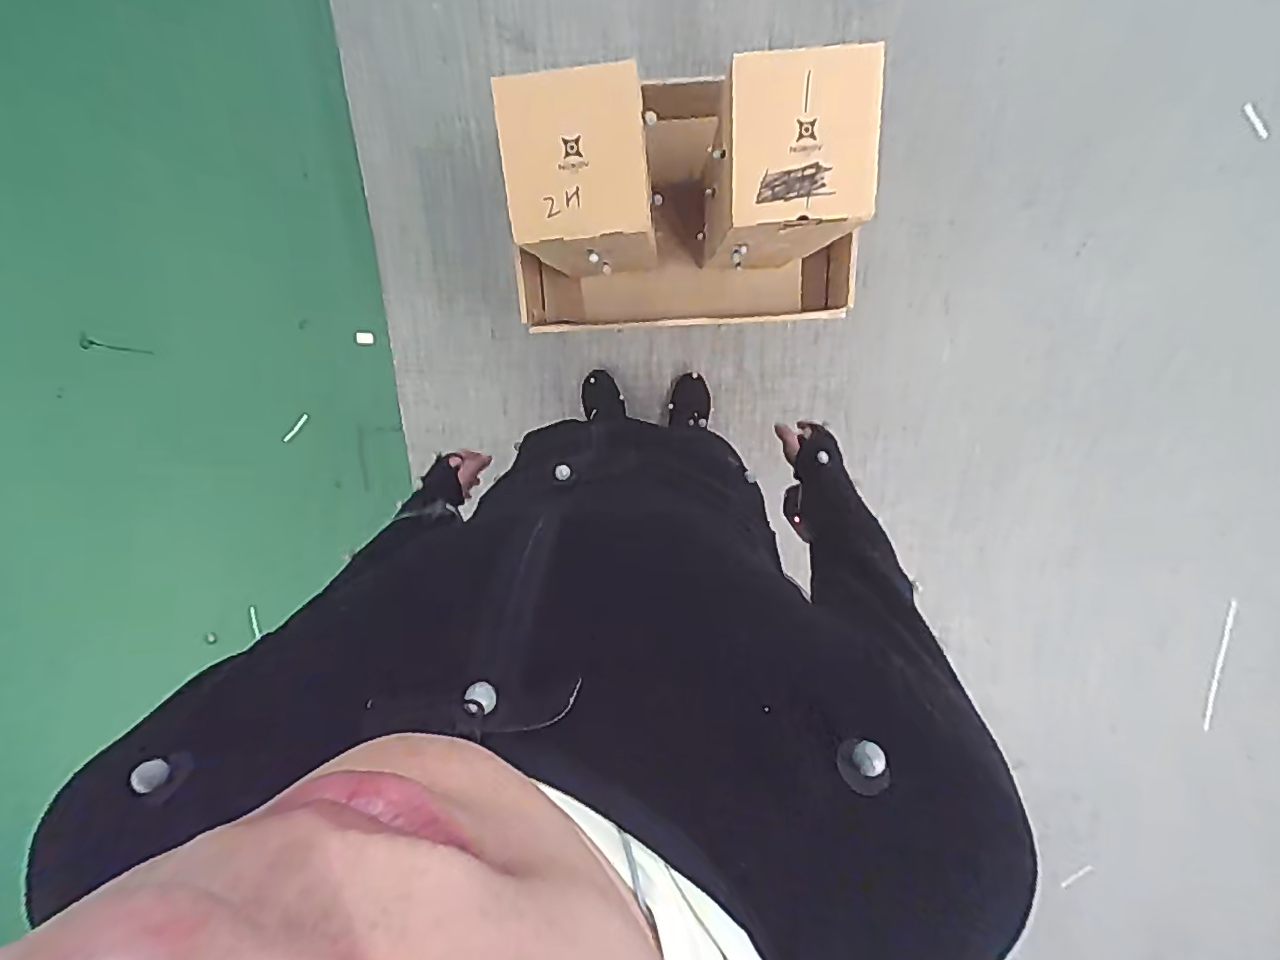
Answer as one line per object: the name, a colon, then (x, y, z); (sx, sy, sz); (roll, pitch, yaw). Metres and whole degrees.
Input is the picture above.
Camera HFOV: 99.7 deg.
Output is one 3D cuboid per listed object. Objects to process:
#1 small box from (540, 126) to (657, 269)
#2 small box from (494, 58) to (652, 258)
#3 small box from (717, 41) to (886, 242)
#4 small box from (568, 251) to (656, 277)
small box: (-0.067, -0.435, 0.855); (0.179, 0.176, 0.168); (-5, 105, 3)
small box: (-0.073, -0.395, 0.694); (0.168, 0.176, 0.179); (-4, 106, 4)
small box: (0.188, -0.404, 0.679); (0.168, 0.176, 0.179); (-2, 104, 3)
small box: (-0.061, -0.479, 1.013); (0.179, 0.176, 0.168); (-3, 105, 2)
